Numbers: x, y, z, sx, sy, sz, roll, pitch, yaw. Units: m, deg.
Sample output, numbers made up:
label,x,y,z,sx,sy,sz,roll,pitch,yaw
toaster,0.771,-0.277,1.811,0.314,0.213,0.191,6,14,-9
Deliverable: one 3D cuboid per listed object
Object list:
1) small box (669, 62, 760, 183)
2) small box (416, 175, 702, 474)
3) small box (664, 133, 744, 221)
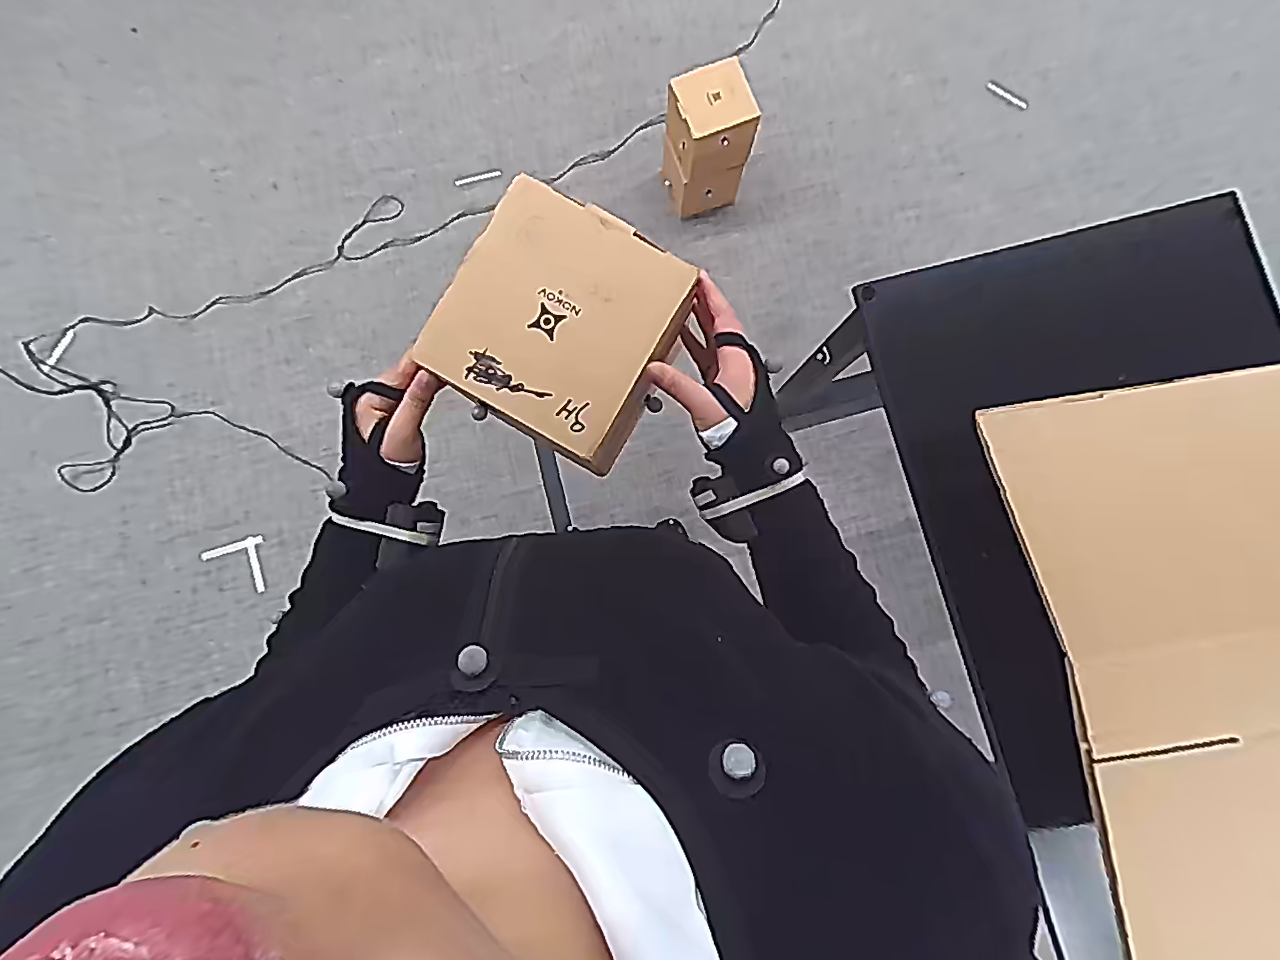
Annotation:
label,x,y,z,sx,sy,sz,roll,pitch,yaw
small box,0.179,-0.893,1.370,0.179,0.176,0.168,-21,85,-3
small box,-0.063,-0.124,0.500,0.168,0.176,0.179,30,85,4
small box,0.174,-0.873,1.531,0.179,0.176,0.168,-18,84,-1
